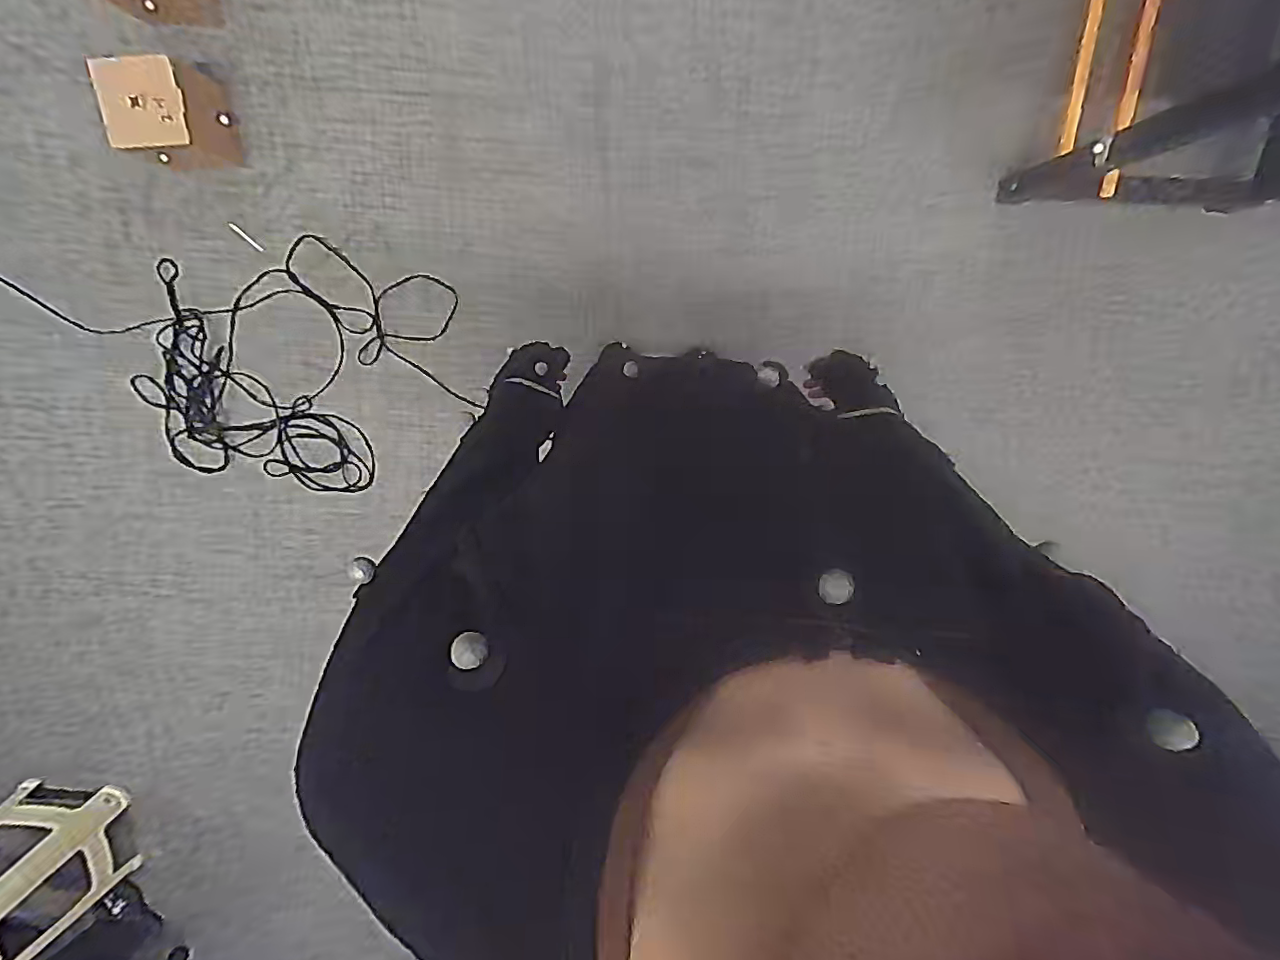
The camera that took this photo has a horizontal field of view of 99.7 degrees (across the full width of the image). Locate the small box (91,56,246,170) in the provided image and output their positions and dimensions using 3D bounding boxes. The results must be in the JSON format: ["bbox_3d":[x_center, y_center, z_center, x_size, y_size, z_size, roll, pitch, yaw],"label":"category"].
[{"bbox_3d":[-1.035,-0.805,1.203,0.179,0.176,0.168,-3,106,1],"label":"small box"}]
